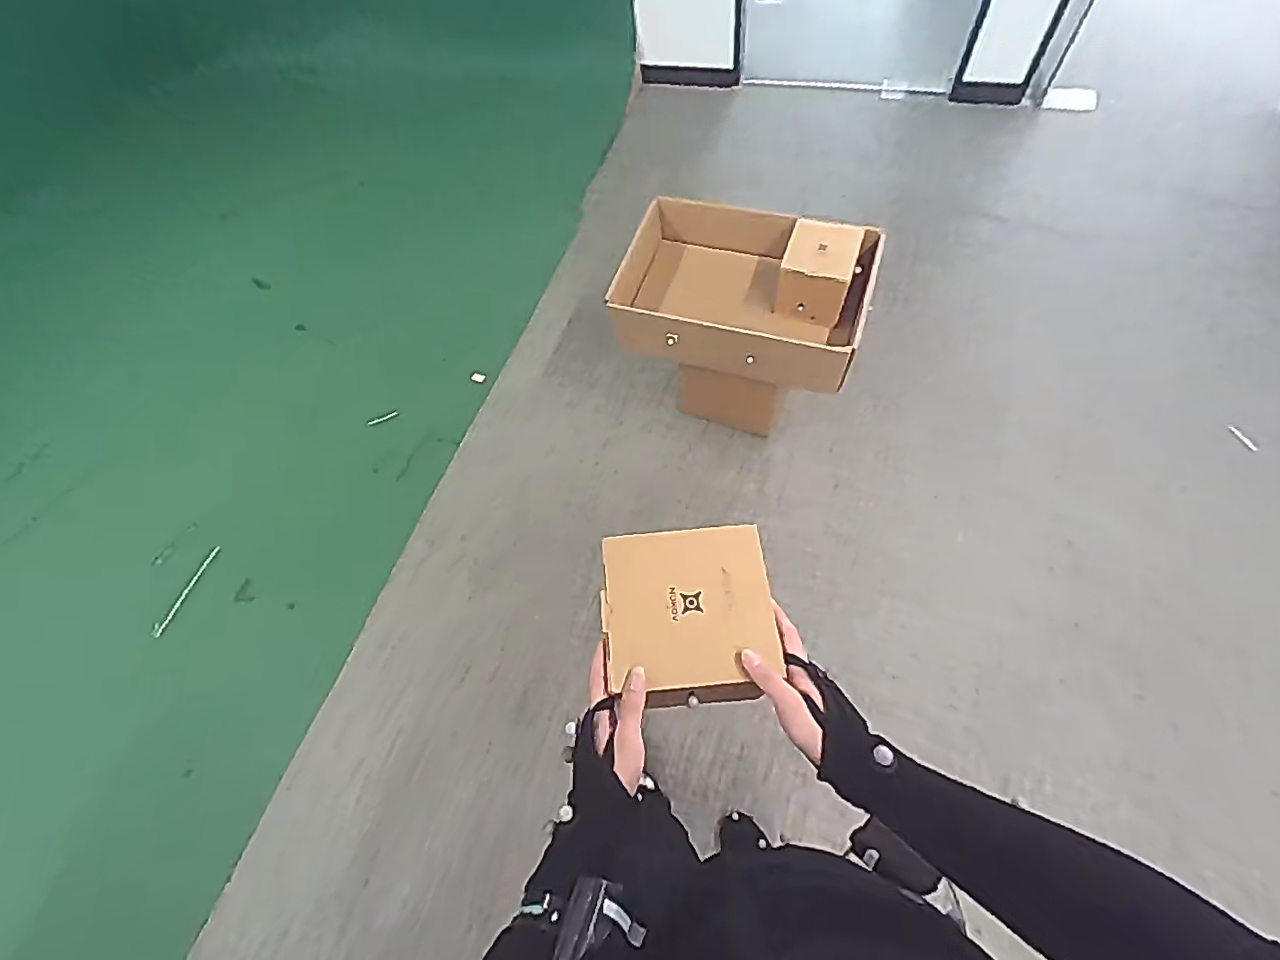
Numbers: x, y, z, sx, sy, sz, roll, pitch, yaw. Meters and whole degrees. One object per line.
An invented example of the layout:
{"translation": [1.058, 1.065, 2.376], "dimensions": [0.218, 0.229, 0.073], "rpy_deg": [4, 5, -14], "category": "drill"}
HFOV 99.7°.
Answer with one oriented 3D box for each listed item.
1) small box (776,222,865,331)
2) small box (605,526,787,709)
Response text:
{"translation": [0.451, -0.514, 1.372], "dimensions": [0.168, 0.176, 0.179], "rpy_deg": [17, 69, 14], "category": "small box"}
{"translation": [0.056, 0.167, 0.630], "dimensions": [0.179, 0.176, 0.168], "rpy_deg": [-4, 61, 0], "category": "small box"}
